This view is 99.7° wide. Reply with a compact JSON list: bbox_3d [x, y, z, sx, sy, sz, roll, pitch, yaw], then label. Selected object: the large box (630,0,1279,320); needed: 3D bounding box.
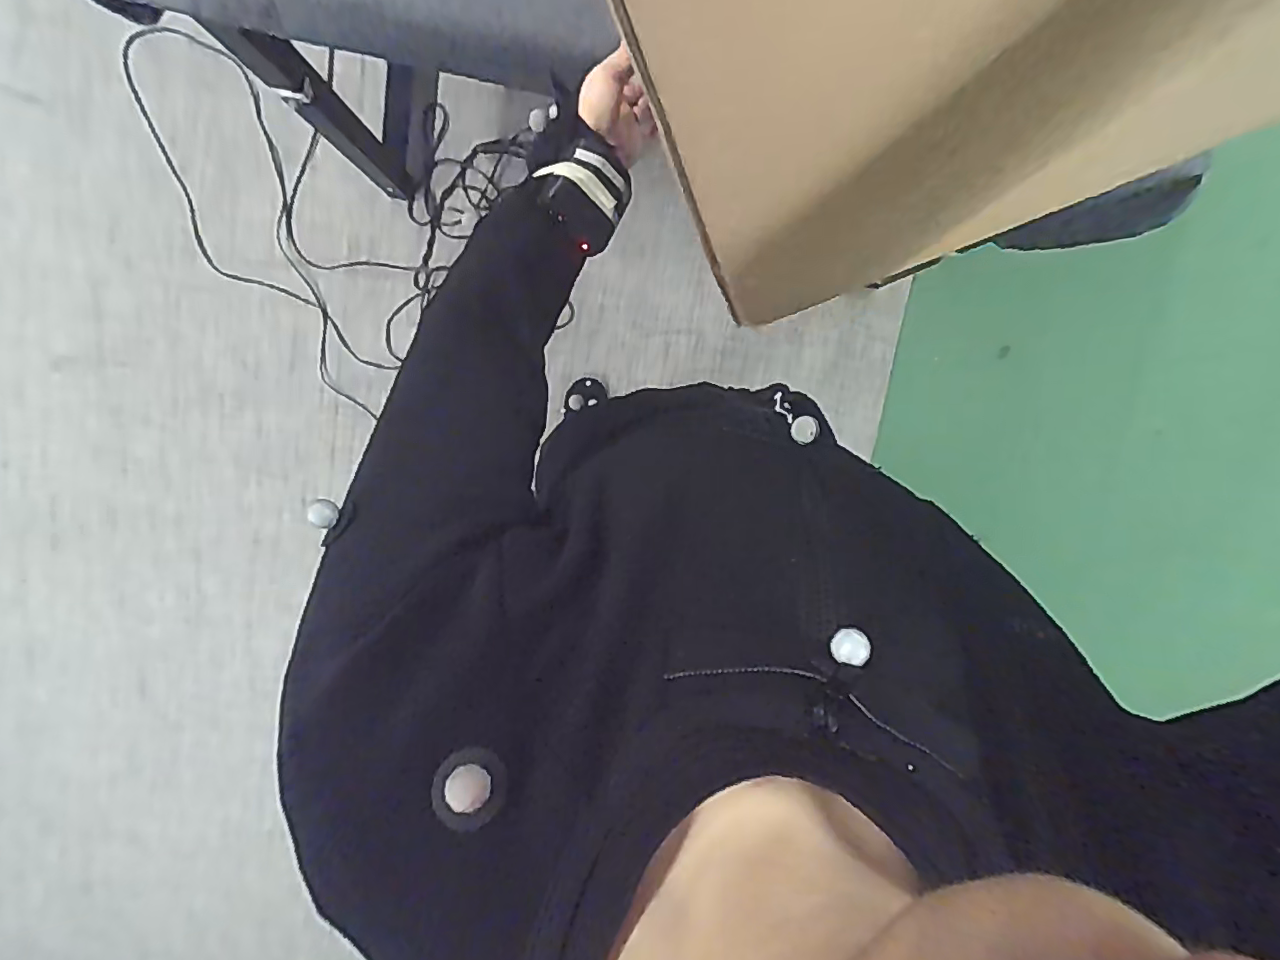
[{"bbox_3d":[0.170,-0.345,0.235,0.408,0.320,0.320,-21,66,16],"label":"large box"}]
